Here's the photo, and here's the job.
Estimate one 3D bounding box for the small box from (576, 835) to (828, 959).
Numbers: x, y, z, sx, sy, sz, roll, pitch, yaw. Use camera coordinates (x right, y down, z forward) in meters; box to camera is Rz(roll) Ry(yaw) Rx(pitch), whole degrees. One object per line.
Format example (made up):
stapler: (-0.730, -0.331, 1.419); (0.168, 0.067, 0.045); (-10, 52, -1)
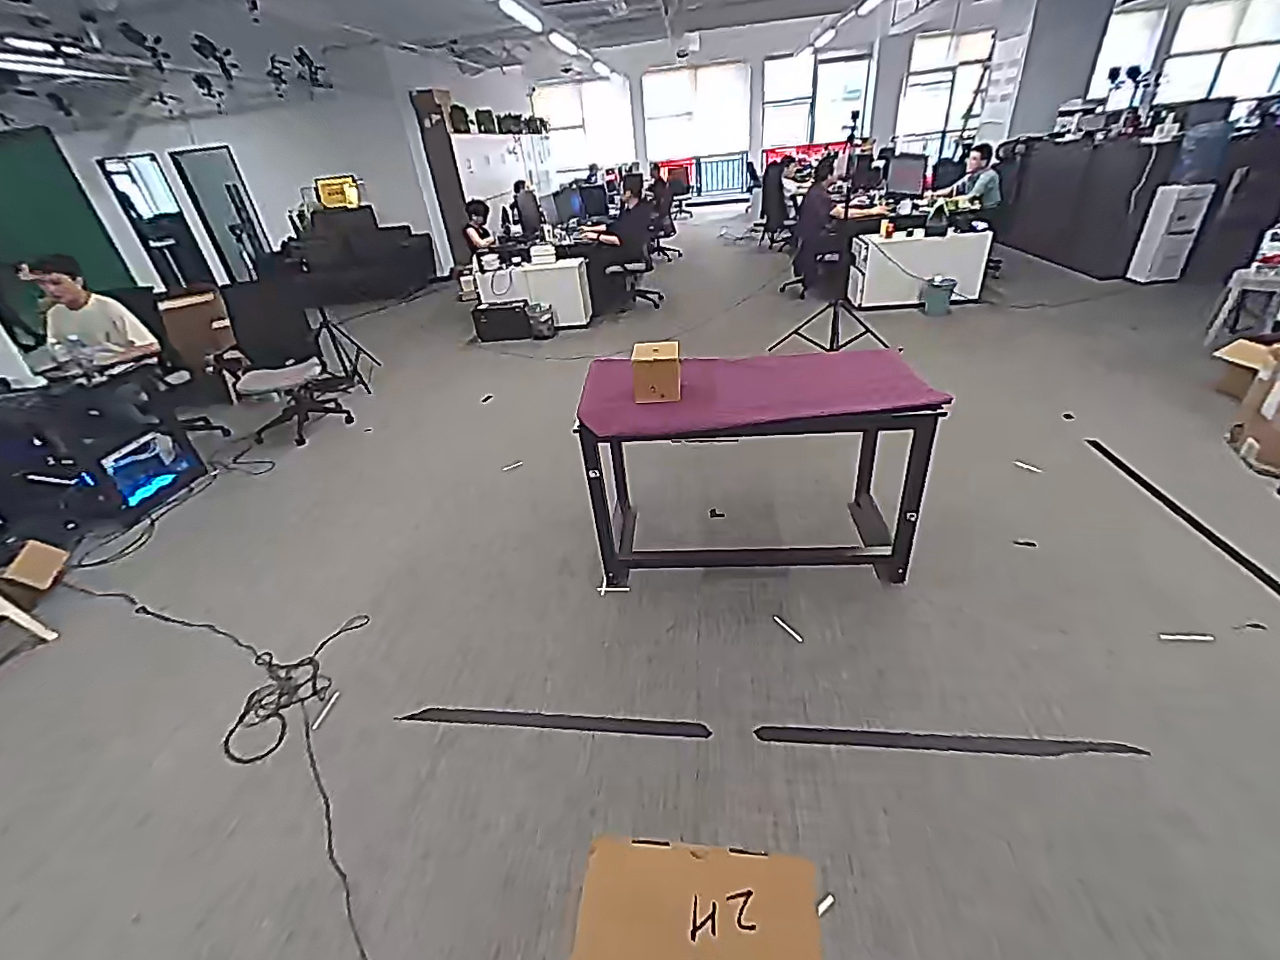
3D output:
small box: (0.043, 0.388, 0.383); (0.168, 0.176, 0.179); (1, 37, 8)

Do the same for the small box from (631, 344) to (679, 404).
small box: (0.059, -0.391, 1.997); (0.168, 0.176, 0.179); (-2, 33, 5)
